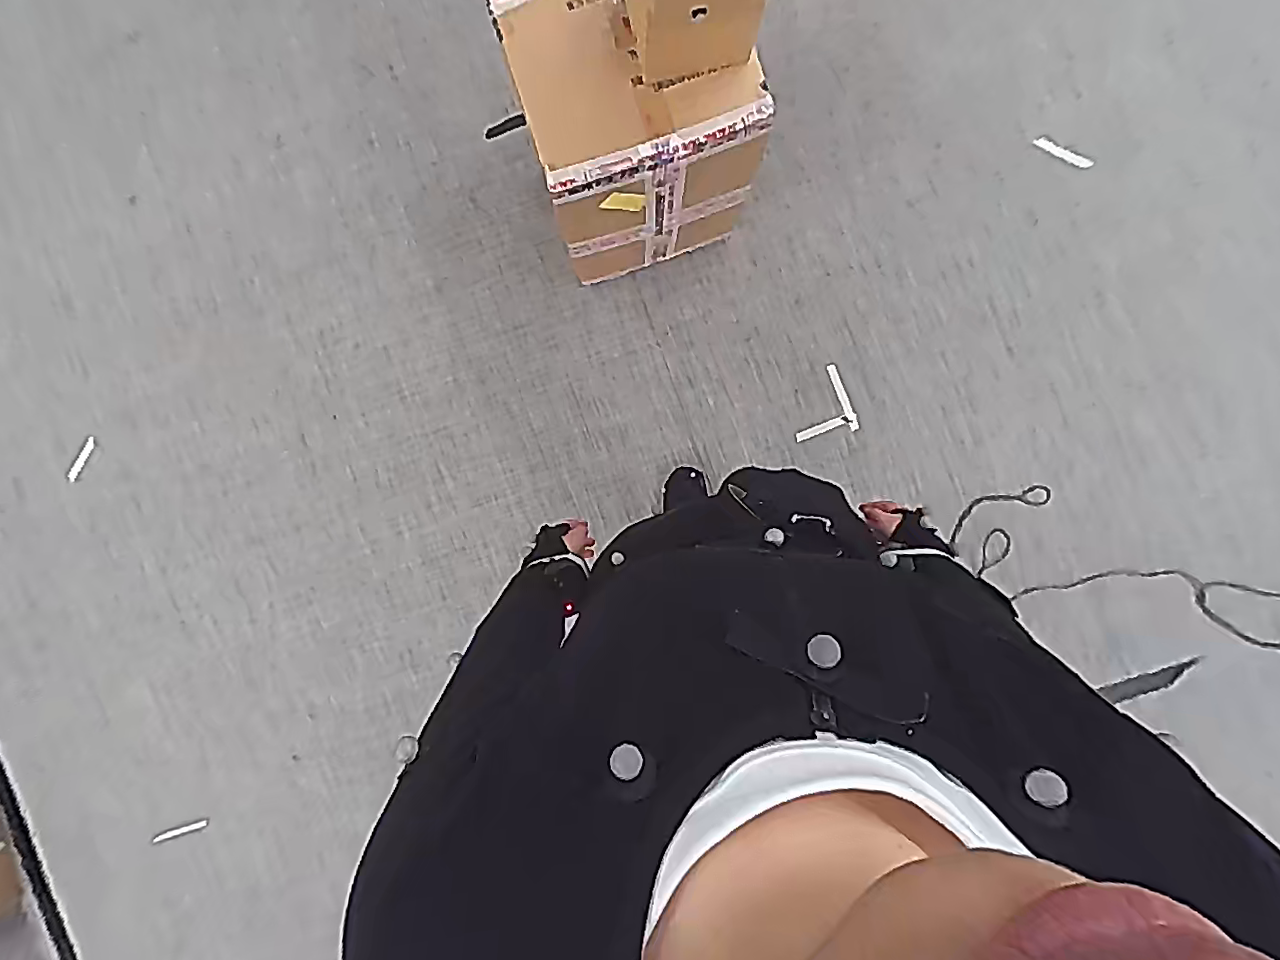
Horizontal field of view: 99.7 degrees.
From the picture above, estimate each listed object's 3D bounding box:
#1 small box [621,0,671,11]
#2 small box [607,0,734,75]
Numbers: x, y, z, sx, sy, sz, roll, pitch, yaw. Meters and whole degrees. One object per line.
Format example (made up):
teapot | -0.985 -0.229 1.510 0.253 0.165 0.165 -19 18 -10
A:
small box | 0.042 -0.716 0.633 0.179 0.176 0.168 -18 92 0
small box | 0.039 -0.747 0.798 0.179 0.176 0.168 -15 92 0
